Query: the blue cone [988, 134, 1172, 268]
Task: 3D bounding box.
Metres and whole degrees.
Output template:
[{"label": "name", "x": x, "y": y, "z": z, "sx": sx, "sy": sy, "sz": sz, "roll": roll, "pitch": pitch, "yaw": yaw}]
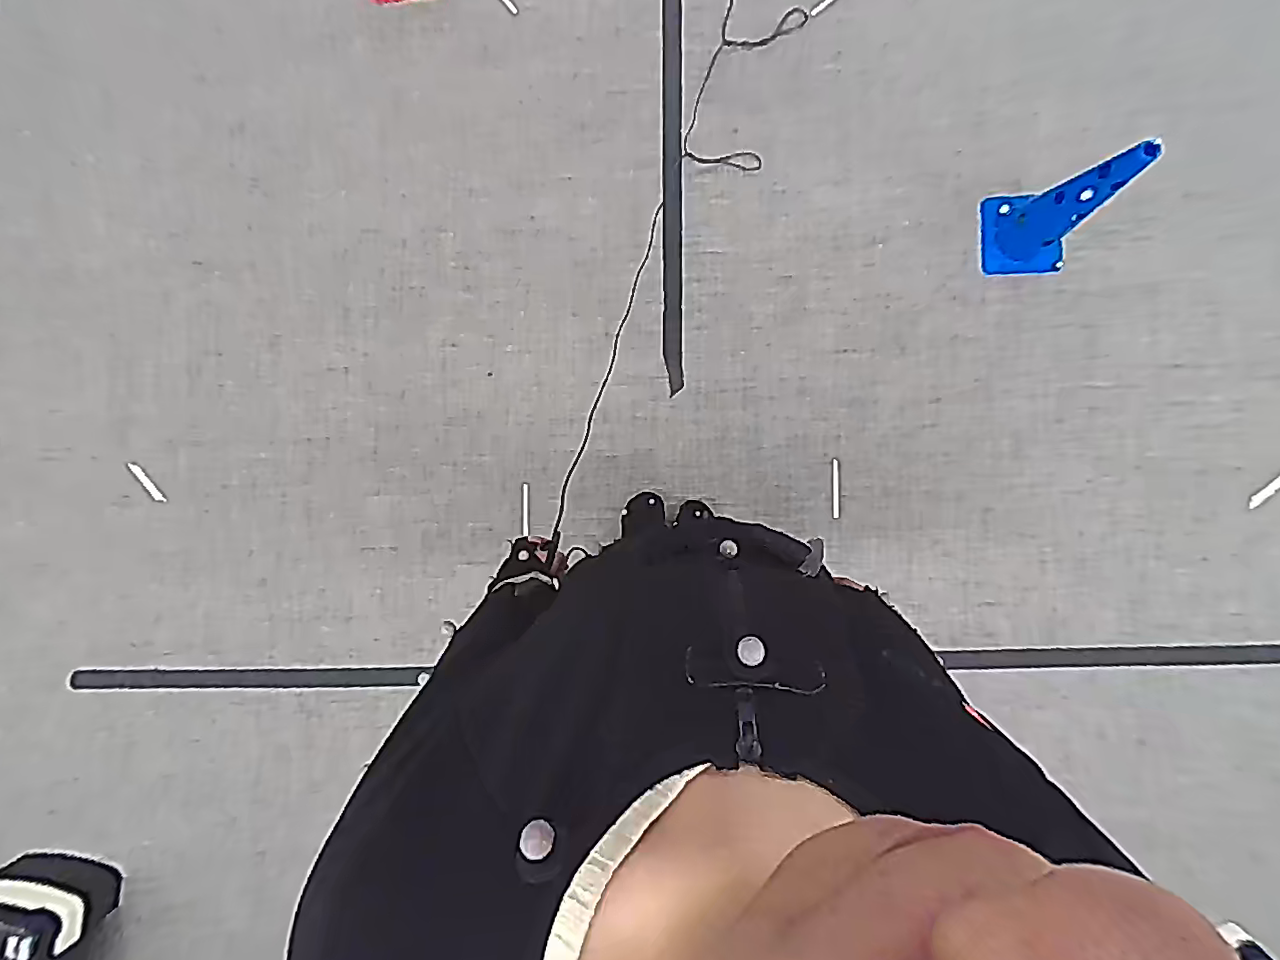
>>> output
[{"label": "blue cone", "x": 0.969, "y": -0.628, "z": 1.195, "sx": 0.192, "sy": 0.380, "sz": 0.193, "roll": 0, "pitch": 90, "yaw": 0}]
